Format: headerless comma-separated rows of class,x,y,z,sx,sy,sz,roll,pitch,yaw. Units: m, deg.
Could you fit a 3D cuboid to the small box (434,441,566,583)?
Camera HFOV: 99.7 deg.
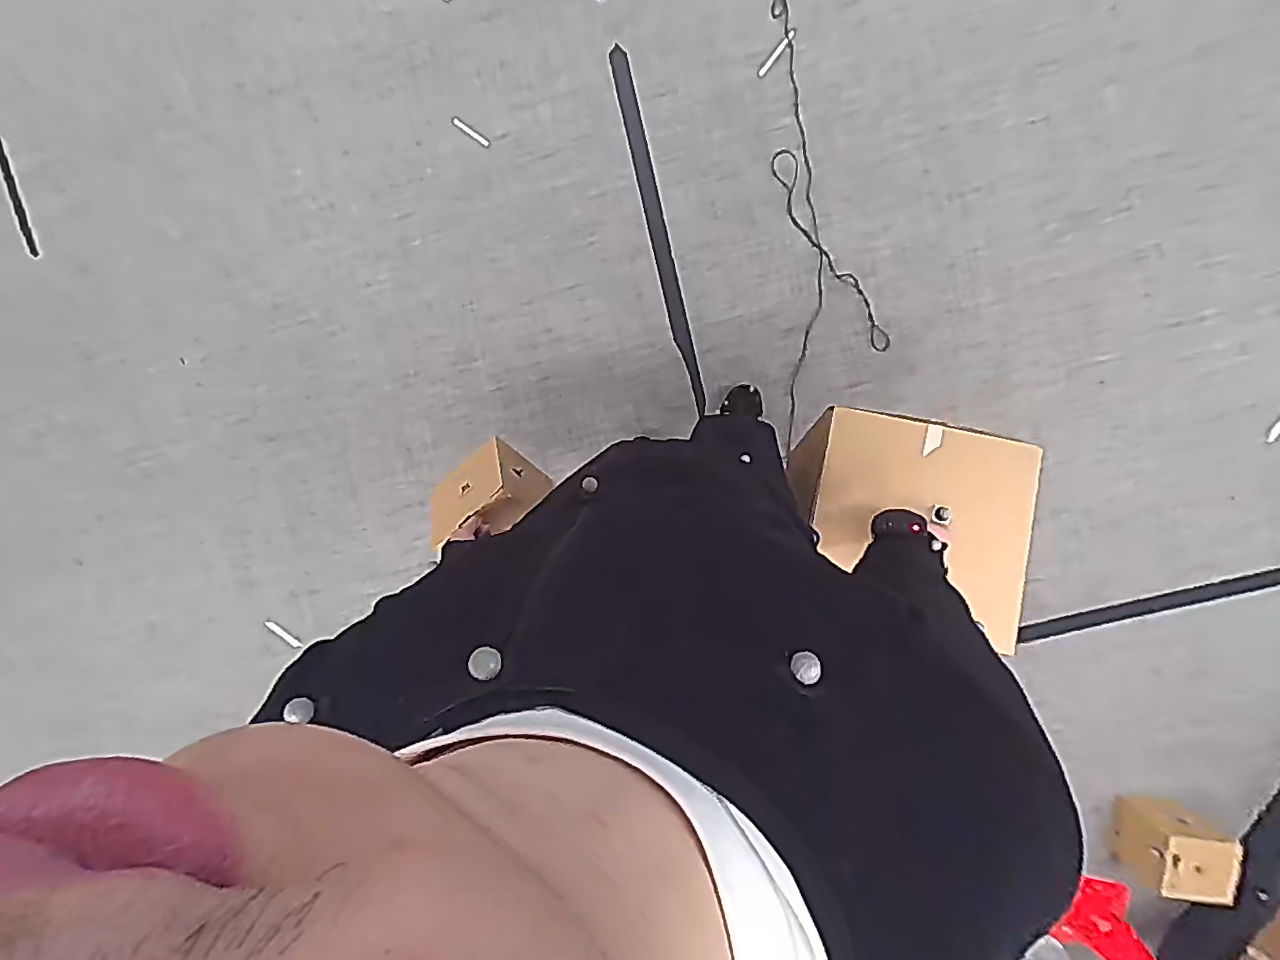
small box,-0.254,0.067,0.994,0.168,0.179,0.176,-41,126,9
